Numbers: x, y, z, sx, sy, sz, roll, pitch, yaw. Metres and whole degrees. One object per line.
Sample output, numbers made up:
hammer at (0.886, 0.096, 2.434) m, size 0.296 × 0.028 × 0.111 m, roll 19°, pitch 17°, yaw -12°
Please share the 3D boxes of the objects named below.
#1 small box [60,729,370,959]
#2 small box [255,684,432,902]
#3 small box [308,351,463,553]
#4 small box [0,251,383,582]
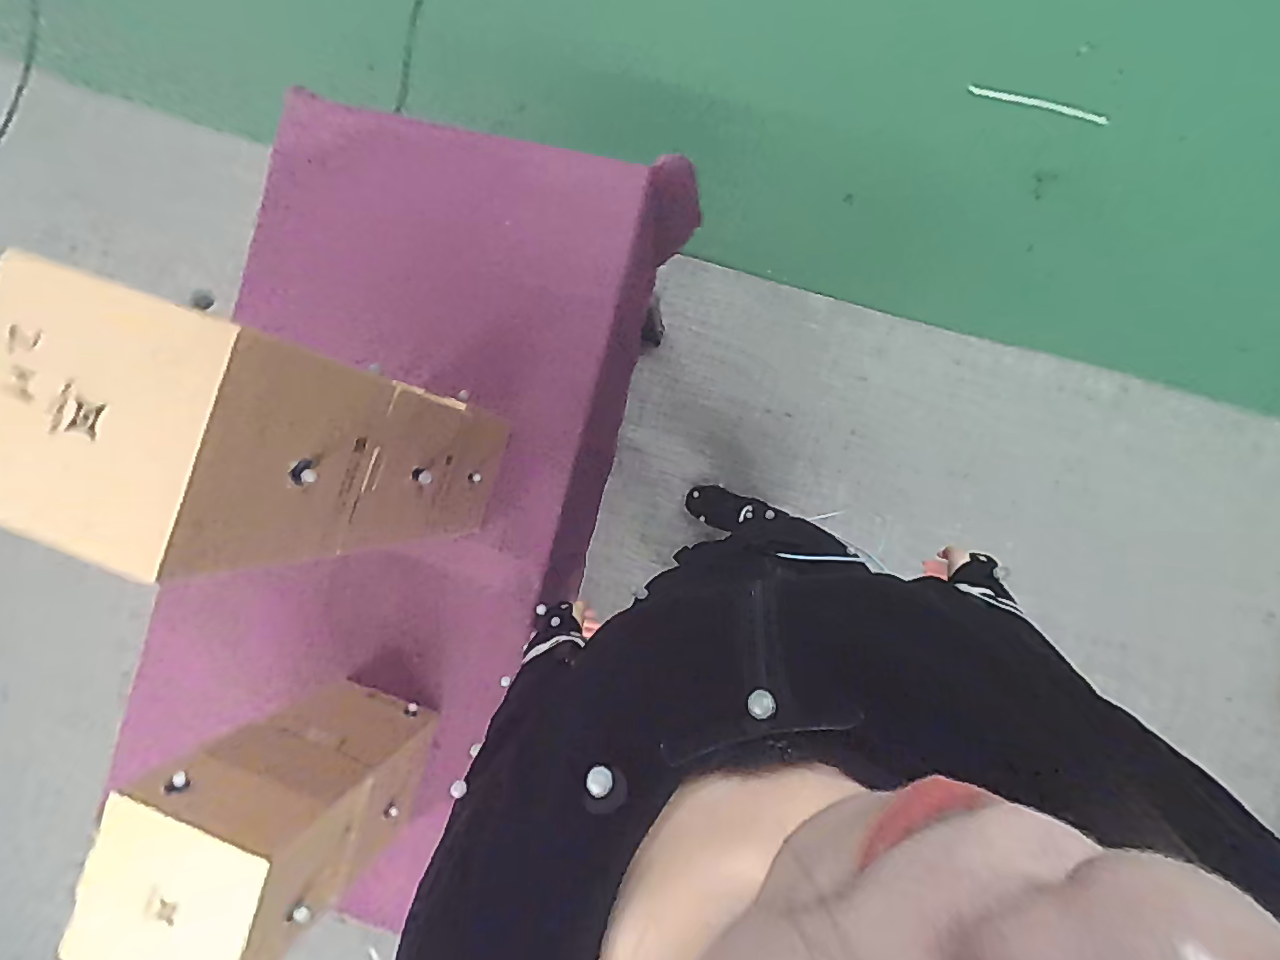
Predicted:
small box at (-0.427, 0.395, 0.574) m, size 0.179 × 0.176 × 0.168 m, roll 17°, pitch 89°, yaw 7°
small box at (-0.409, 0.404, 0.735) m, size 0.168 × 0.176 × 0.179 m, roll 16°, pitch 90°, yaw 6°
small box at (-0.319, -0.037, 0.578) m, size 0.179 × 0.176 × 0.168 m, roll 21°, pitch 90°, yaw 5°
small box at (-0.336, -0.040, 0.414) m, size 0.179 × 0.176 × 0.168 m, roll 19°, pitch 90°, yaw 7°
